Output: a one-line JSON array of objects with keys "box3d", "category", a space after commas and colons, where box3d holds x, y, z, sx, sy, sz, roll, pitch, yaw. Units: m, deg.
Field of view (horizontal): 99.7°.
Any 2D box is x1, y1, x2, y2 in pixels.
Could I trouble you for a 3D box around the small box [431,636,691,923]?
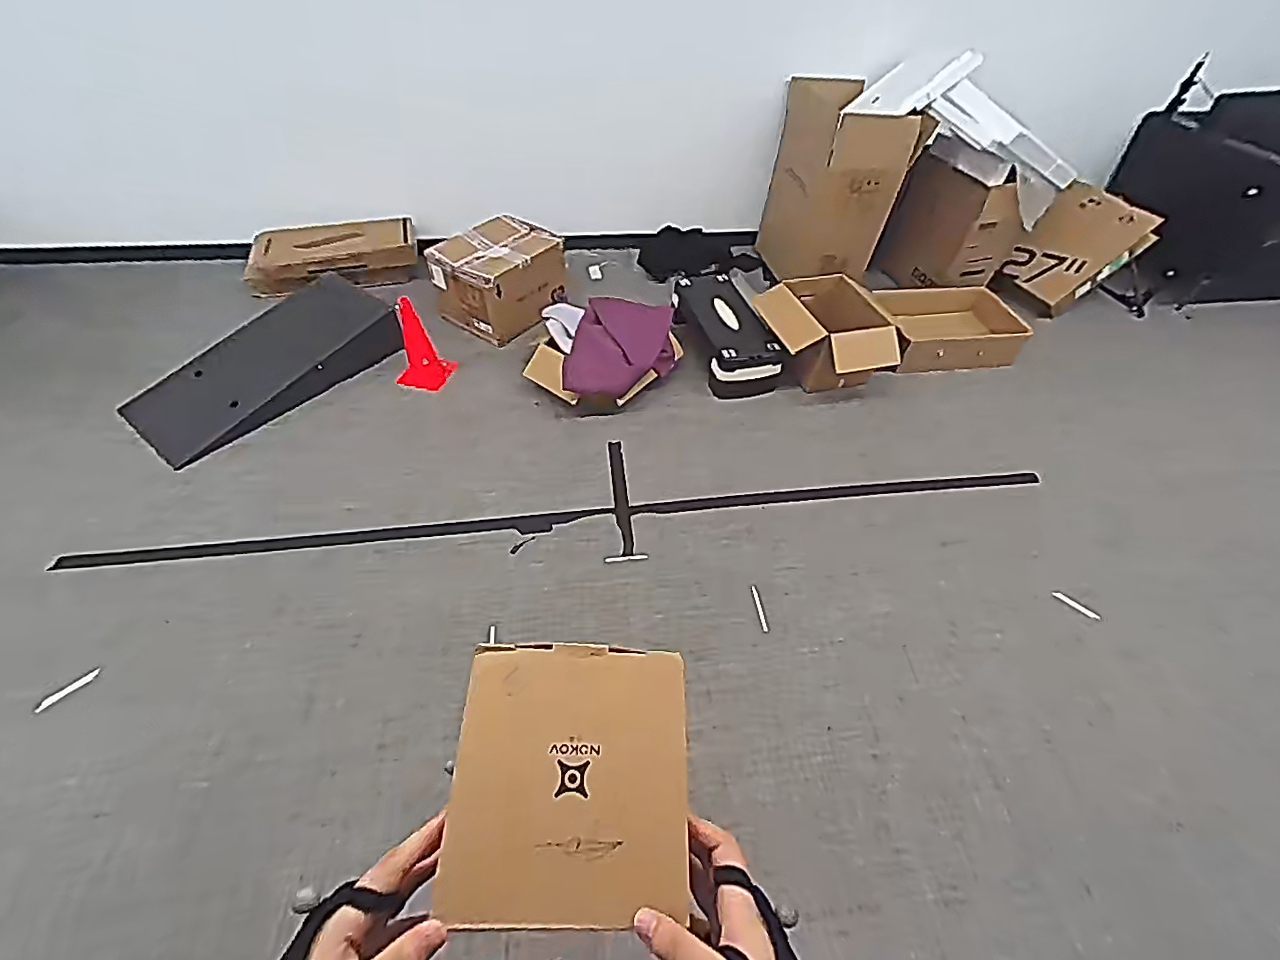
[{"box3d": [-0.056, 0.242, 0.448, 0.168, 0.176, 0.179, 4, 59, -5], "category": "small box"}]
